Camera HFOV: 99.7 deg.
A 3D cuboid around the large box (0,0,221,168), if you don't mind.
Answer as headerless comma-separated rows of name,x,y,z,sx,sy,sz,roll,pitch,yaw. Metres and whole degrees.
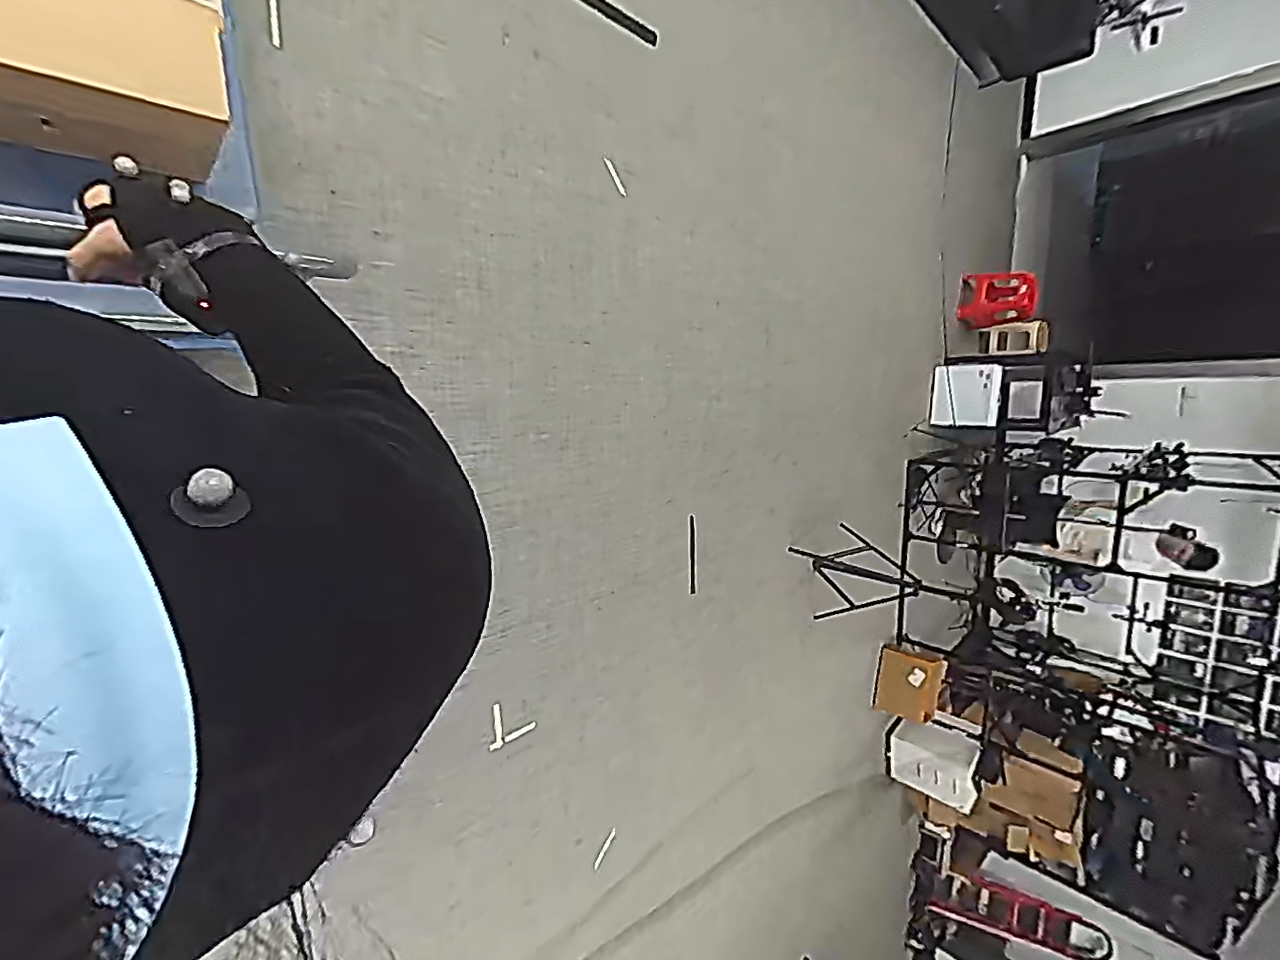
large box,-0.877,-0.688,0.759,0.408,0.320,0.320,-10,102,-43
